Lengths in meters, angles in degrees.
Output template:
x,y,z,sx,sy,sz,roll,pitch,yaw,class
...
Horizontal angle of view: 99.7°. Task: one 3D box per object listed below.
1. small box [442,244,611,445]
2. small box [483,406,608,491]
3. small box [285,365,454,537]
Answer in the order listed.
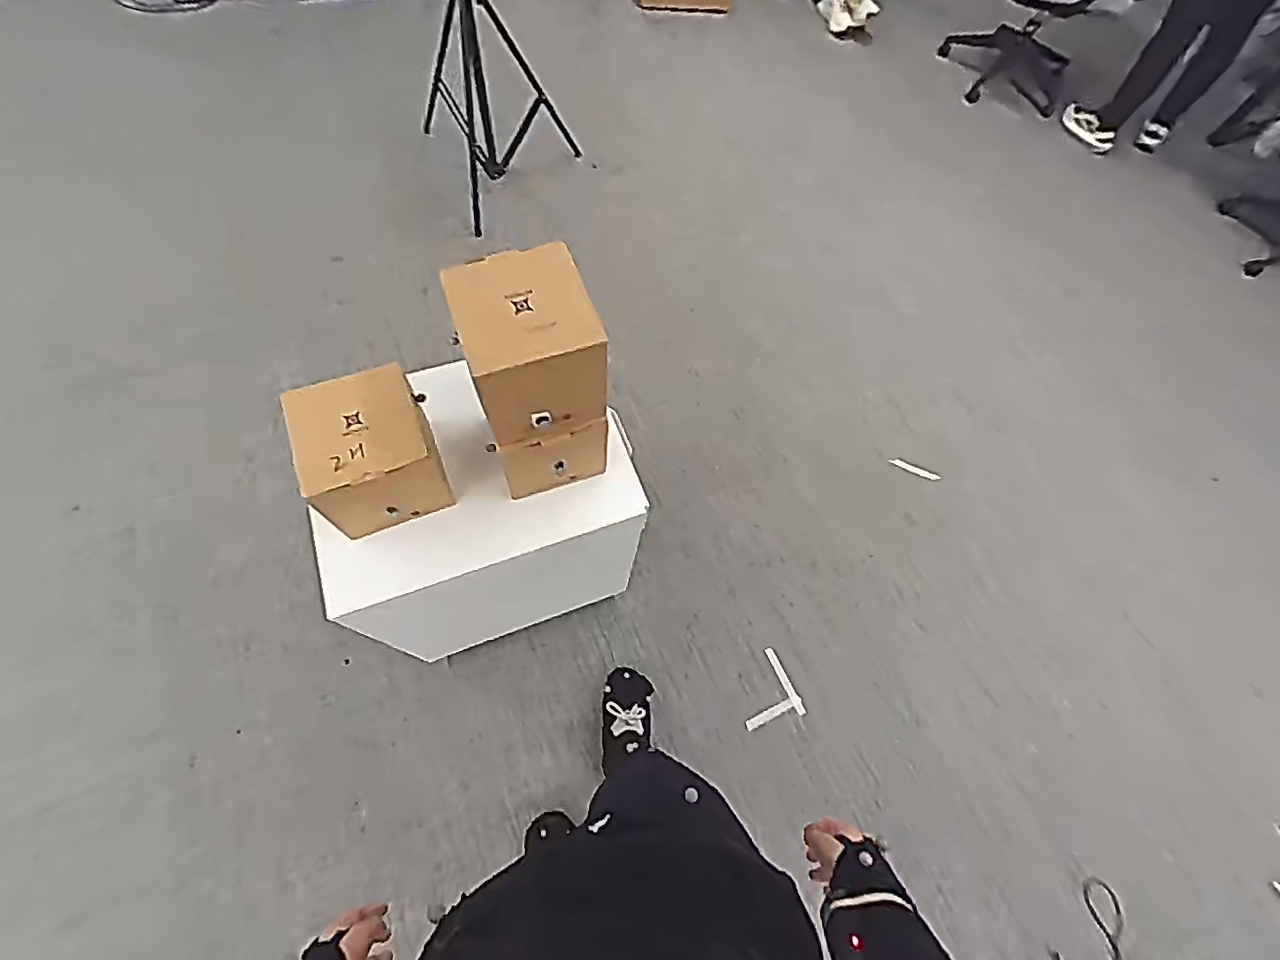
x,y,z,sx,sy,sz,roll,pitch,yaw,class
-0.146,-0.176,0.726,0.168,0.176,0.179,-19,68,-12,small box
-0.156,-0.097,0.868,0.168,0.176,0.179,-17,69,-13,small box
-0.399,-0.039,0.819,0.168,0.176,0.179,-20,69,-14,small box
